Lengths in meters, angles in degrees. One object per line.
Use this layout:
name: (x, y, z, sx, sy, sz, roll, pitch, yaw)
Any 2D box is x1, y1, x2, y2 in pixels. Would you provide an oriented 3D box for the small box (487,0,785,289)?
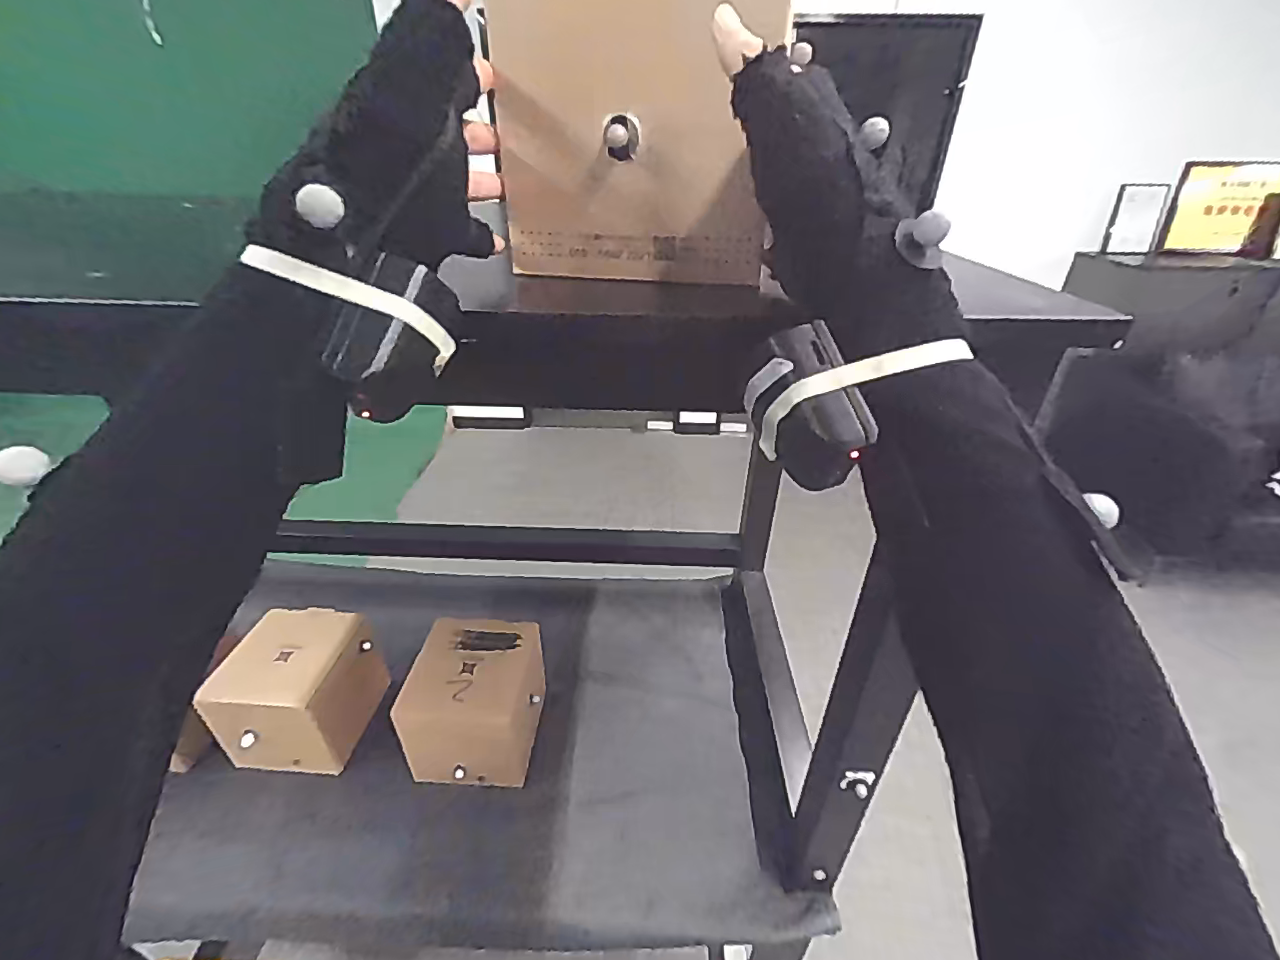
small box: (0.011, -0.243, 0.392, 0.168, 0.176, 0.179, 7, 32, 9)

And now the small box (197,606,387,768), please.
small box: (-0.526, 0.325, 0.852, 0.168, 0.176, 0.179, 3, 31, 2)
